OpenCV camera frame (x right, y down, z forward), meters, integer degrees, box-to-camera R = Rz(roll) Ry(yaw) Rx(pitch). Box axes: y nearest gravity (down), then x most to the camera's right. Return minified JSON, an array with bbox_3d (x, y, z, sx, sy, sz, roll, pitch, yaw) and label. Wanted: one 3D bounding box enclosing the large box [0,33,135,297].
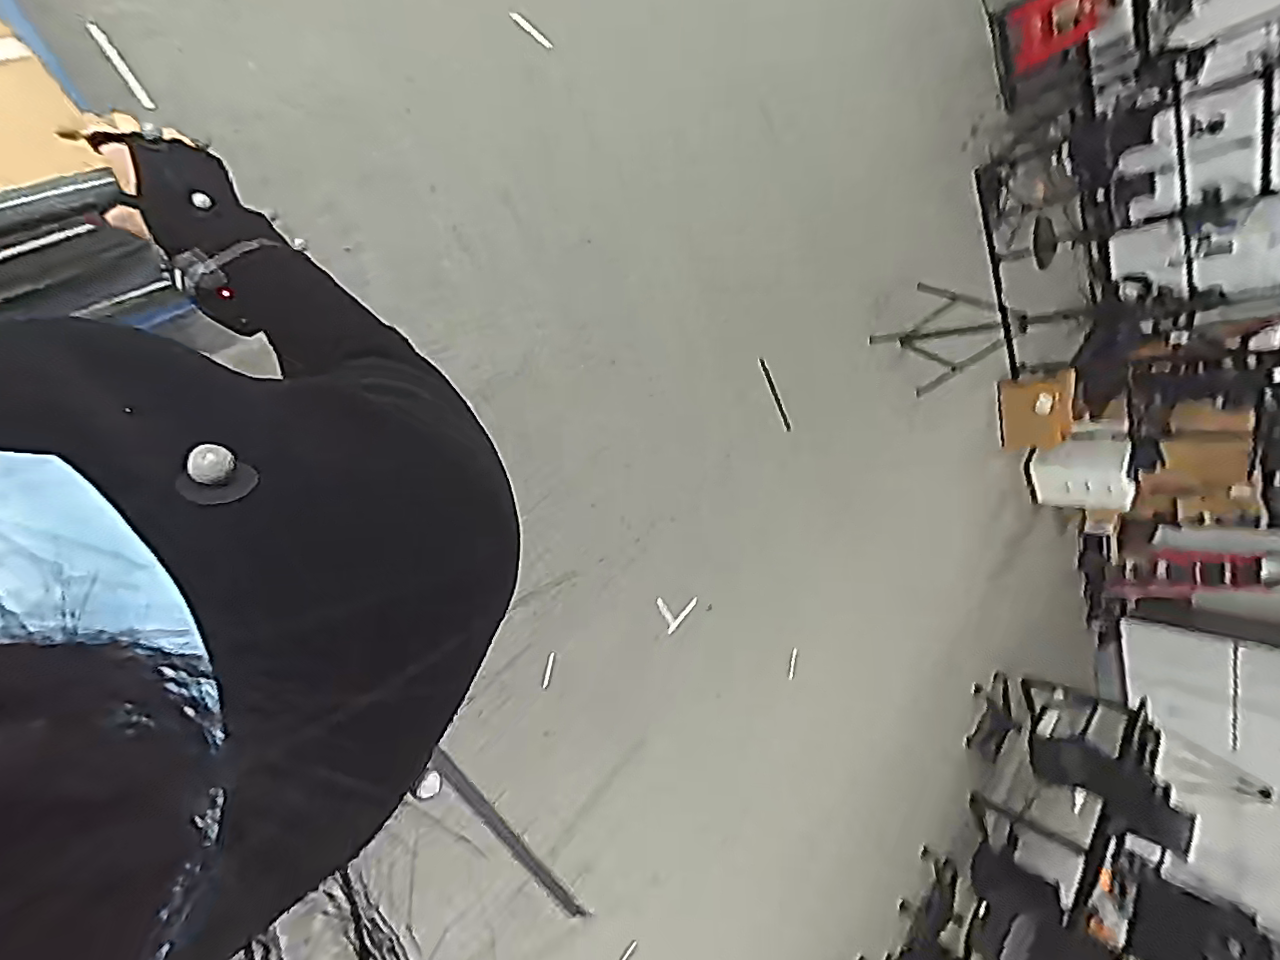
[{"bbox_3d":[-1.005,-0.420,0.705,0.408,0.320,0.320,-46,119,-29],"label":"large box"}]
